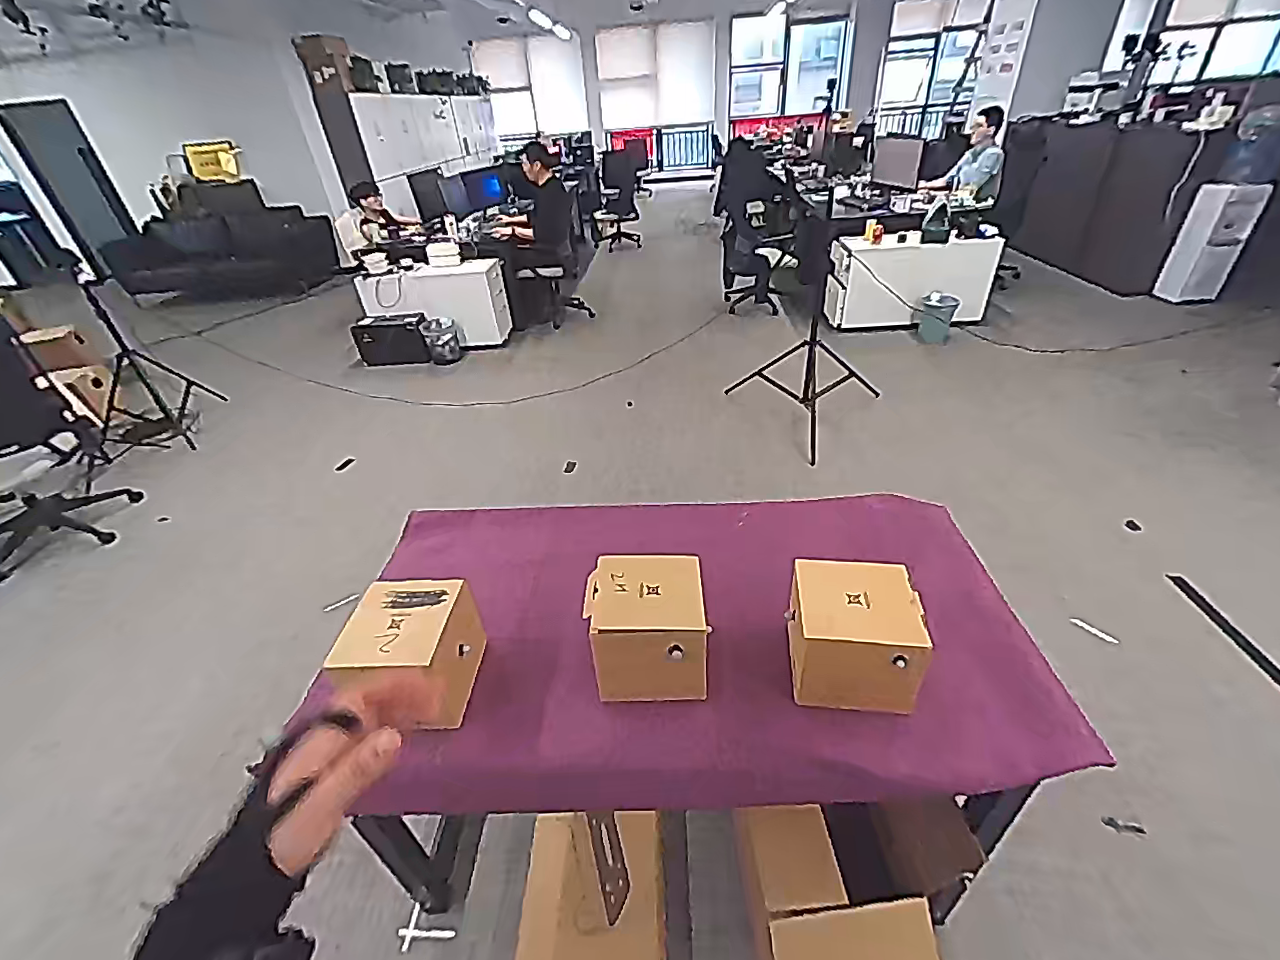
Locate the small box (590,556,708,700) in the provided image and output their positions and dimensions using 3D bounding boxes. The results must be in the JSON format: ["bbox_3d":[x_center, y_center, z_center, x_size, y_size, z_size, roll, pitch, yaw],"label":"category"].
[{"bbox_3d":[0.019,0.246,0.902,0.179,0.176,0.168,-3,32,3],"label":"small box"}]

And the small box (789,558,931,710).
[{"bbox_3d":[0.335,0.245,0.865,0.179,0.176,0.168,1,35,9],"label":"small box"}]
